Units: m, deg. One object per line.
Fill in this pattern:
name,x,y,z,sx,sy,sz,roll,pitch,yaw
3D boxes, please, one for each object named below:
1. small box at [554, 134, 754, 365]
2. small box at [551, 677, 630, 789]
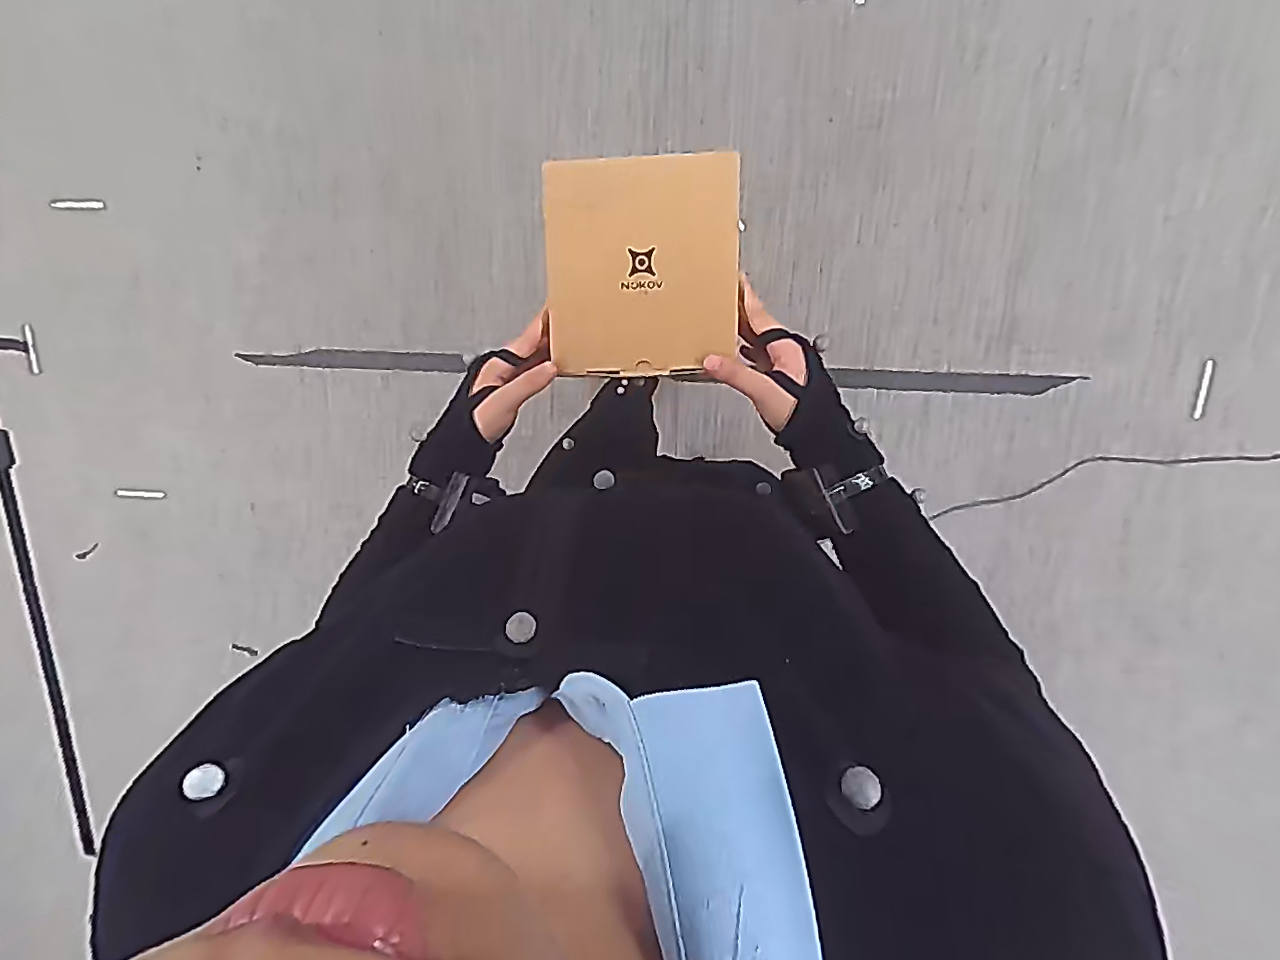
small box,0.016,-0.206,0.529,0.168,0.176,0.179,-1,101,4
small box,-0.116,0.613,1.323,0.168,0.176,0.179,4,101,3
